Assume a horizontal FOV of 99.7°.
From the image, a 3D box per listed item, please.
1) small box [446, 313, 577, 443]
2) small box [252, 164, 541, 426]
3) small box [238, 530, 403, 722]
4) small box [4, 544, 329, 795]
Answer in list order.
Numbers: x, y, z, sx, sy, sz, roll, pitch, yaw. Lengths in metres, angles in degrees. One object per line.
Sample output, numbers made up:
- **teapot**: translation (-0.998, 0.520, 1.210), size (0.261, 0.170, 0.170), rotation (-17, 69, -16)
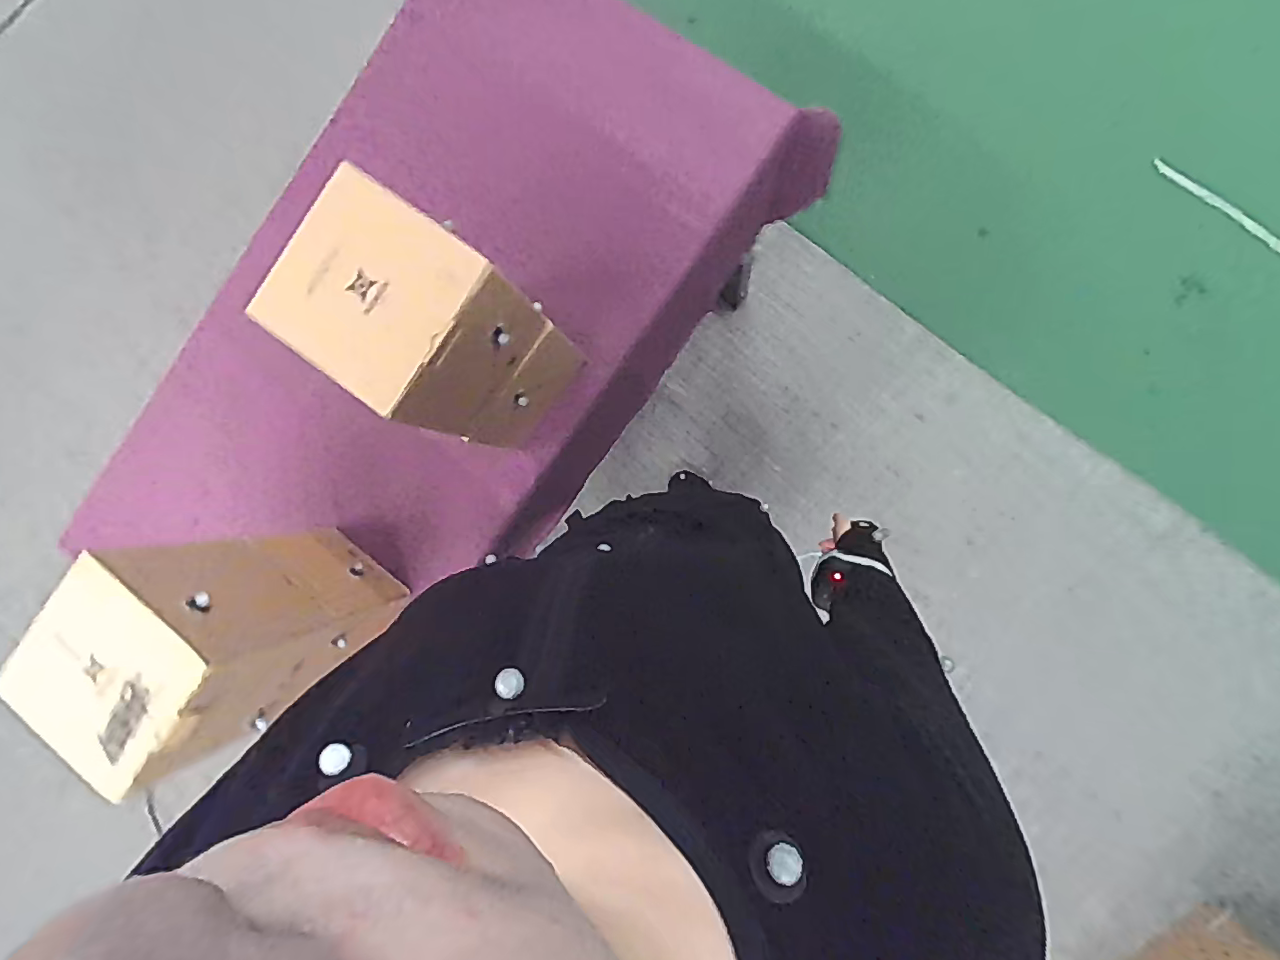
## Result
- **small box**: translation (-0.206, -0.164, 0.721), size (0.168, 0.176, 0.179), rotation (38, 94, 5)
- **small box**: translation (-0.230, -0.169, 0.559), size (0.179, 0.176, 0.168), rotation (36, 93, 7)
- **small box**: translation (-0.470, 0.188, 0.751), size (0.168, 0.176, 0.179), rotation (36, 93, 6)
- **small box**: translation (-0.491, 0.183, 0.589), size (0.179, 0.176, 0.168), rotation (36, 93, 7)
